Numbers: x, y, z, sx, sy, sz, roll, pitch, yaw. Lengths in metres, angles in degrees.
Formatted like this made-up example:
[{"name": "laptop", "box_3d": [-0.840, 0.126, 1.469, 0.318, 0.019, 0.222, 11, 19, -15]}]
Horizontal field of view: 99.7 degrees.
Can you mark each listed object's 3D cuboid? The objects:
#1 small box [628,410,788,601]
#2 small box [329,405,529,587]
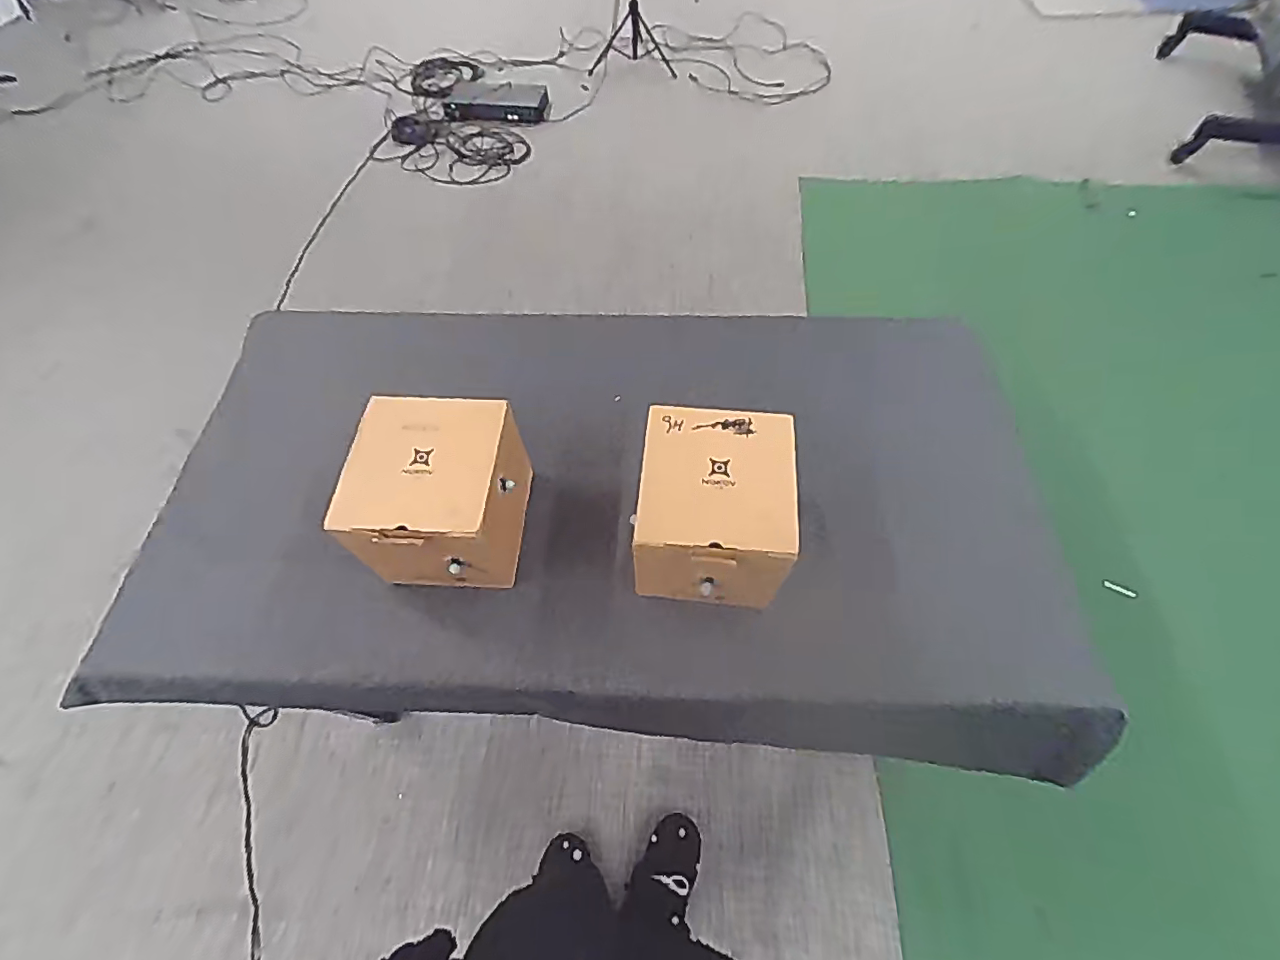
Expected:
[{"name": "small box", "box_3d": [0.081, 0.037, 0.654, 0.168, 0.176, 0.179, 4, 61, 4]}, {"name": "small box", "box_3d": [-0.243, 0.026, 0.675, 0.168, 0.176, 0.179, 1, 59, 2]}]
